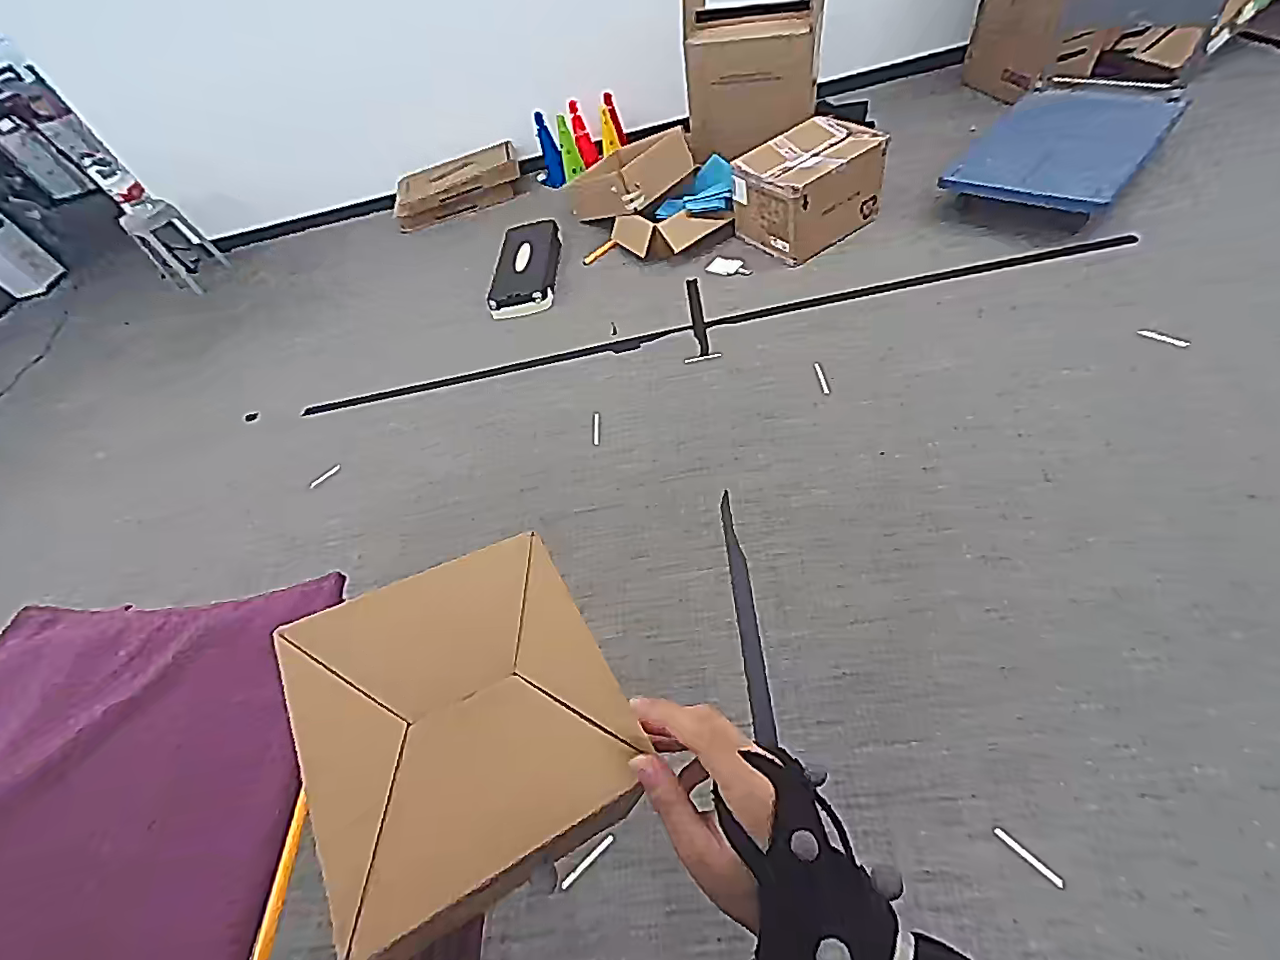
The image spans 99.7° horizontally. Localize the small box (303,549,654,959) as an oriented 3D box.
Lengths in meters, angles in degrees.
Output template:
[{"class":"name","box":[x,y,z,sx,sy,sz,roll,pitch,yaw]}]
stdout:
[{"class":"small box","box":[-0.105,0.177,0.370,0.168,0.176,0.179,-20,56,-24]}]
